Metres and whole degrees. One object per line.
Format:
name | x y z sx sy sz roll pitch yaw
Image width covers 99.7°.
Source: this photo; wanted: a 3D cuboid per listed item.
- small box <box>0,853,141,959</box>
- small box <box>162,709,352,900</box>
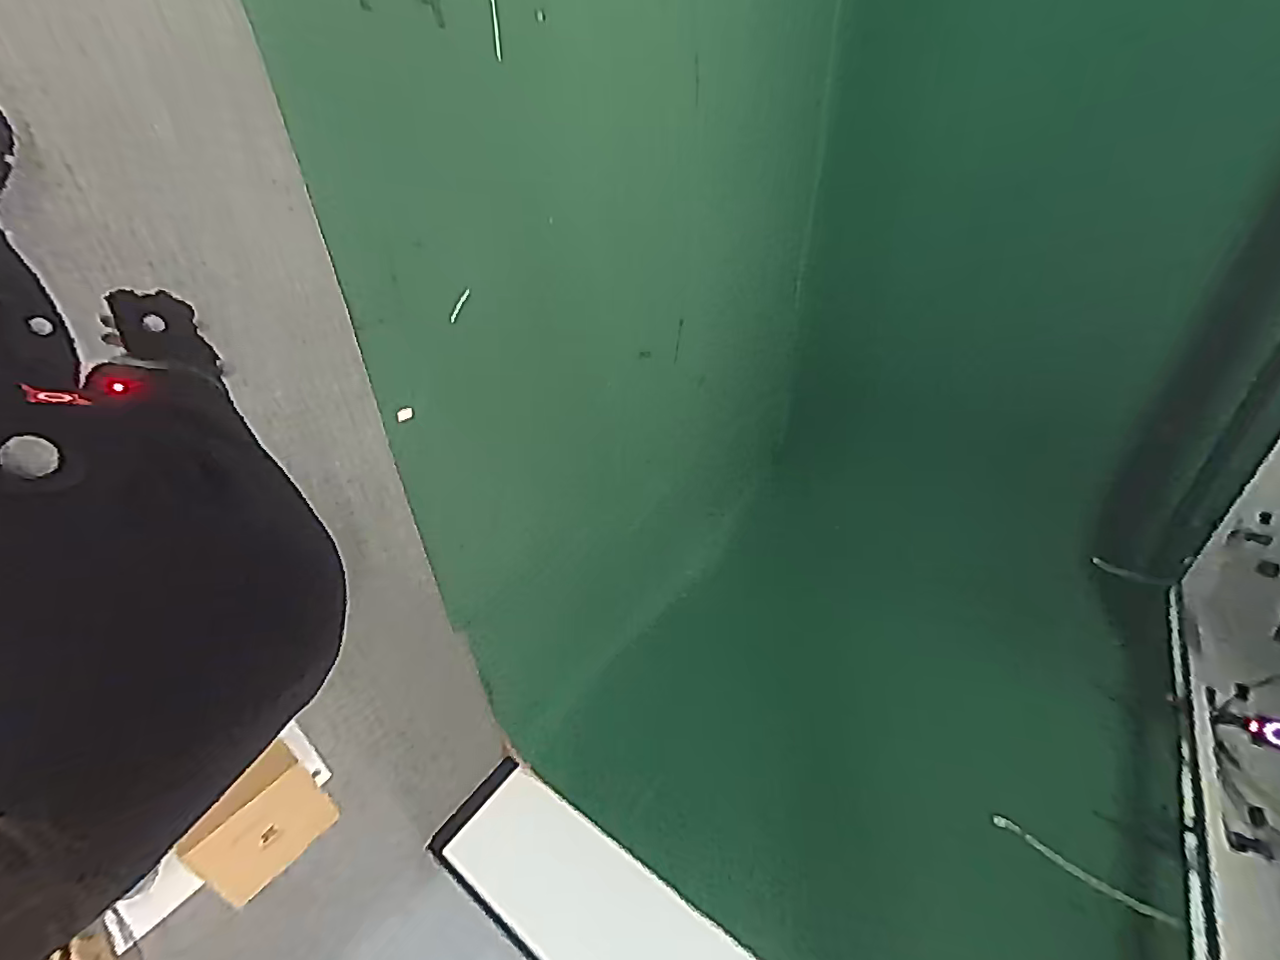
small box | -0.778 0.620 0.677 0.168 0.176 0.179 -39 138 -40
small box | -0.610 0.509 0.870 0.168 0.176 0.179 -39 136 -39
